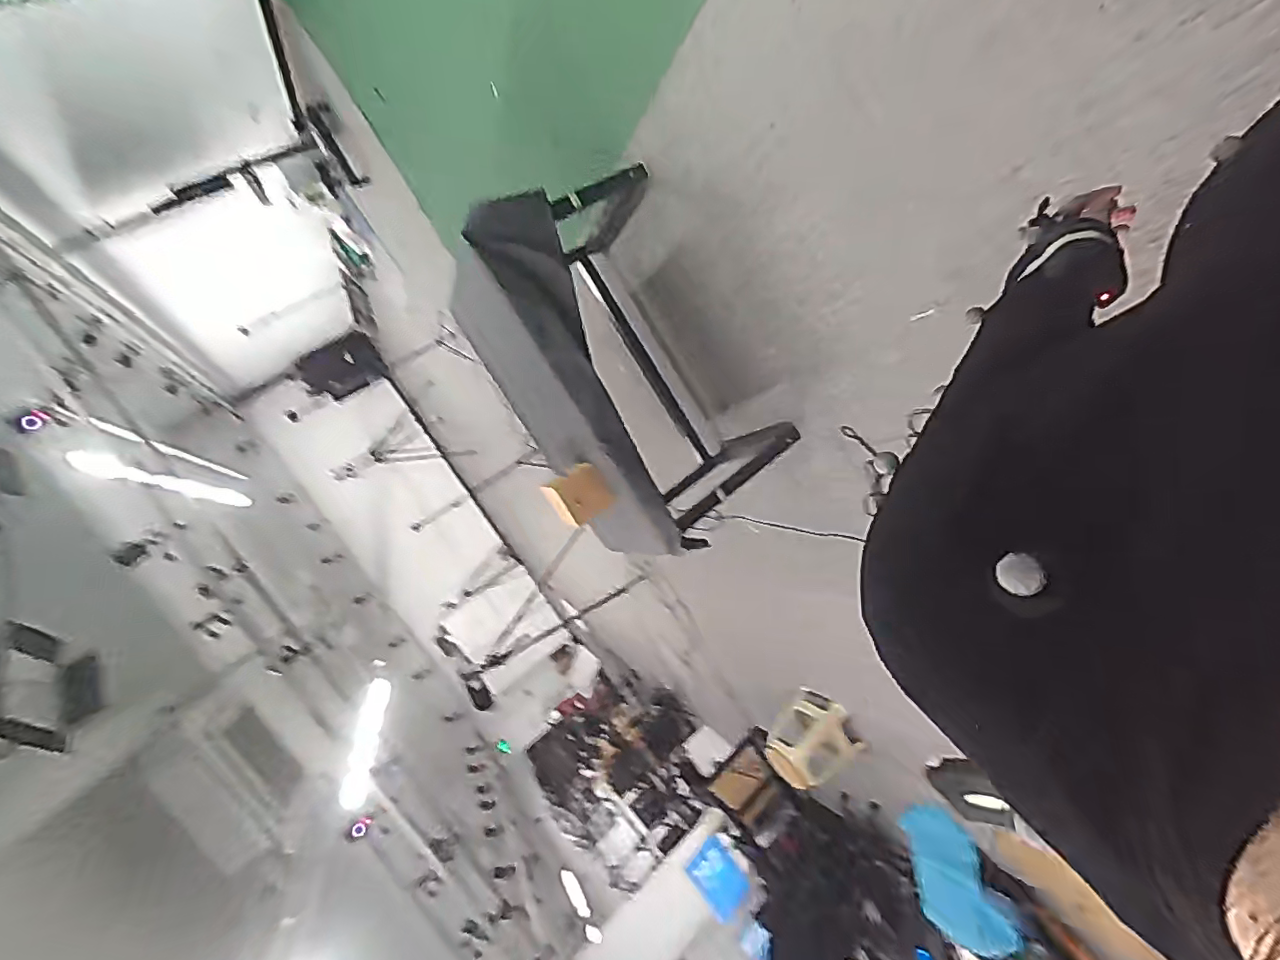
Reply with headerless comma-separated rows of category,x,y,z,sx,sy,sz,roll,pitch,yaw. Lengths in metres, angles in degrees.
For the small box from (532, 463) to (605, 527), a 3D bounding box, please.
small box,-0.257,0.048,1.951,0.179,0.176,0.168,60,157,-15
